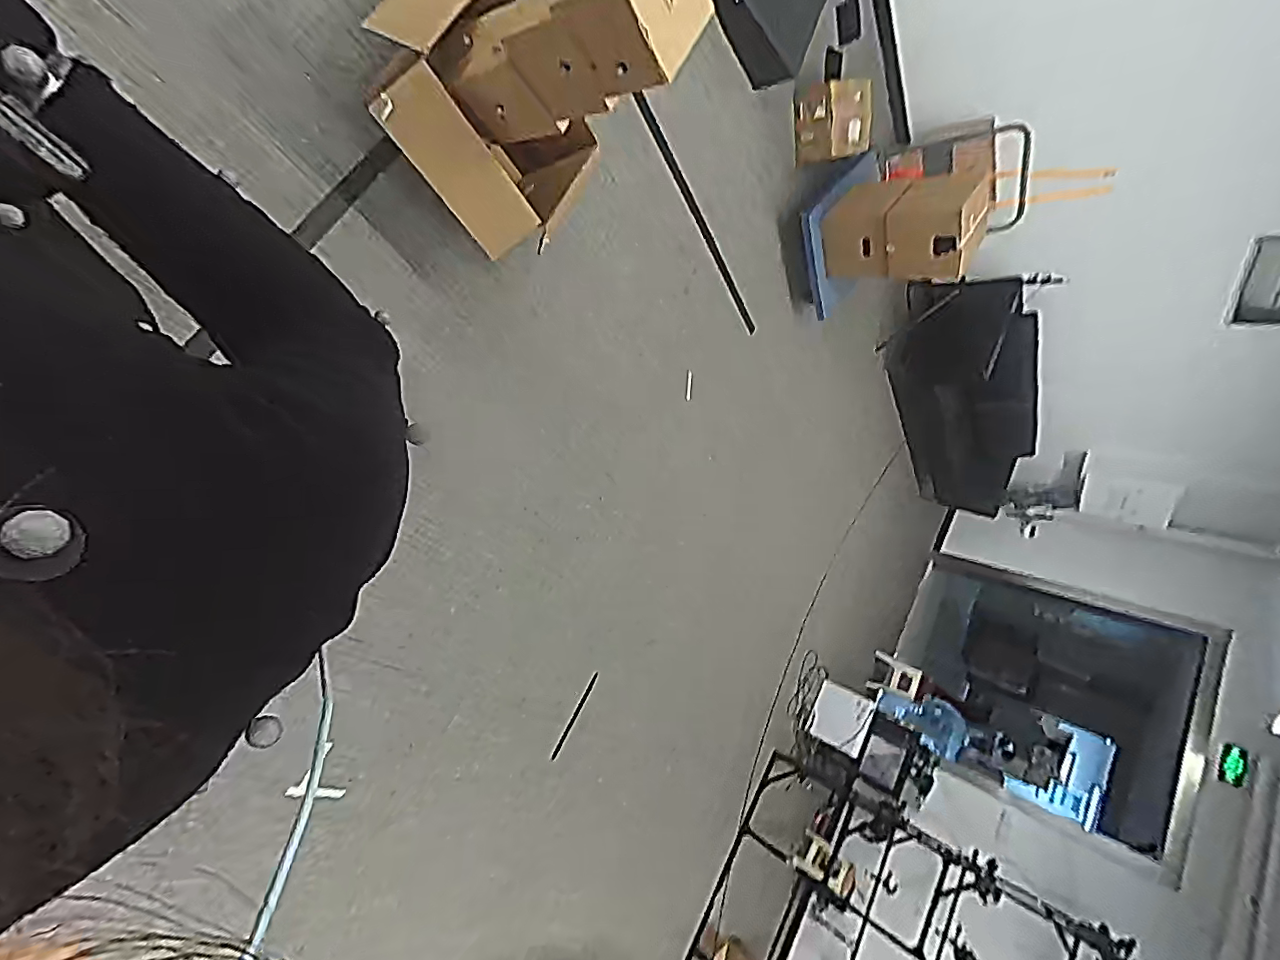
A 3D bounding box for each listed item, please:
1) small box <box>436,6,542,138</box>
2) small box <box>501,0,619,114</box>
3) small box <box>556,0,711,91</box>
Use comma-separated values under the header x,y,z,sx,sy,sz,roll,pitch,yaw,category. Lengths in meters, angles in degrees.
x,y,z,sx,sy,sz,roll,pitch,yaw,category
-0.341,-0.928,1.253,0.179,0.176,0.168,15,94,-52,small box
-0.127,-0.834,1.021,0.179,0.176,0.168,37,78,-50,small box
-0.017,-0.797,0.905,0.168,0.176,0.179,39,76,-51,small box
